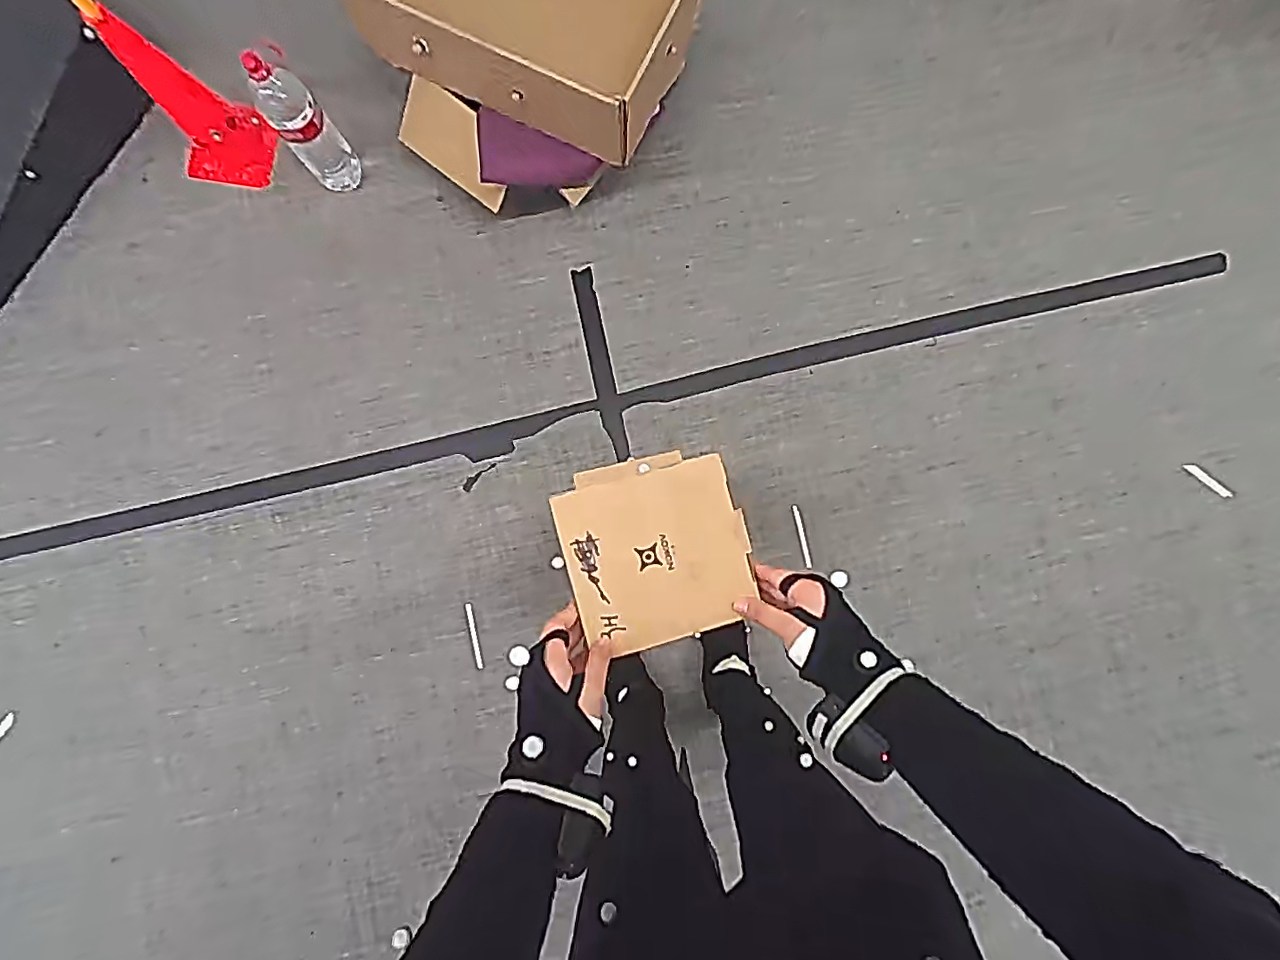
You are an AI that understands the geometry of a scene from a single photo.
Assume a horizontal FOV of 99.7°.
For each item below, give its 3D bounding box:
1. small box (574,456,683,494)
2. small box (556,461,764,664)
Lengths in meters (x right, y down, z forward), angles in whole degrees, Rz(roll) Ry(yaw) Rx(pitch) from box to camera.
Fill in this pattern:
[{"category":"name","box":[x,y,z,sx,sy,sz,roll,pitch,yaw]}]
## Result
[{"category":"small box","box":[-0.003,0.070,0.870,0.168,0.176,0.179,-13,85,-4]},{"category":"small box","box":[0.013,0.082,0.605,0.179,0.176,0.168,-15,87,-5]}]
